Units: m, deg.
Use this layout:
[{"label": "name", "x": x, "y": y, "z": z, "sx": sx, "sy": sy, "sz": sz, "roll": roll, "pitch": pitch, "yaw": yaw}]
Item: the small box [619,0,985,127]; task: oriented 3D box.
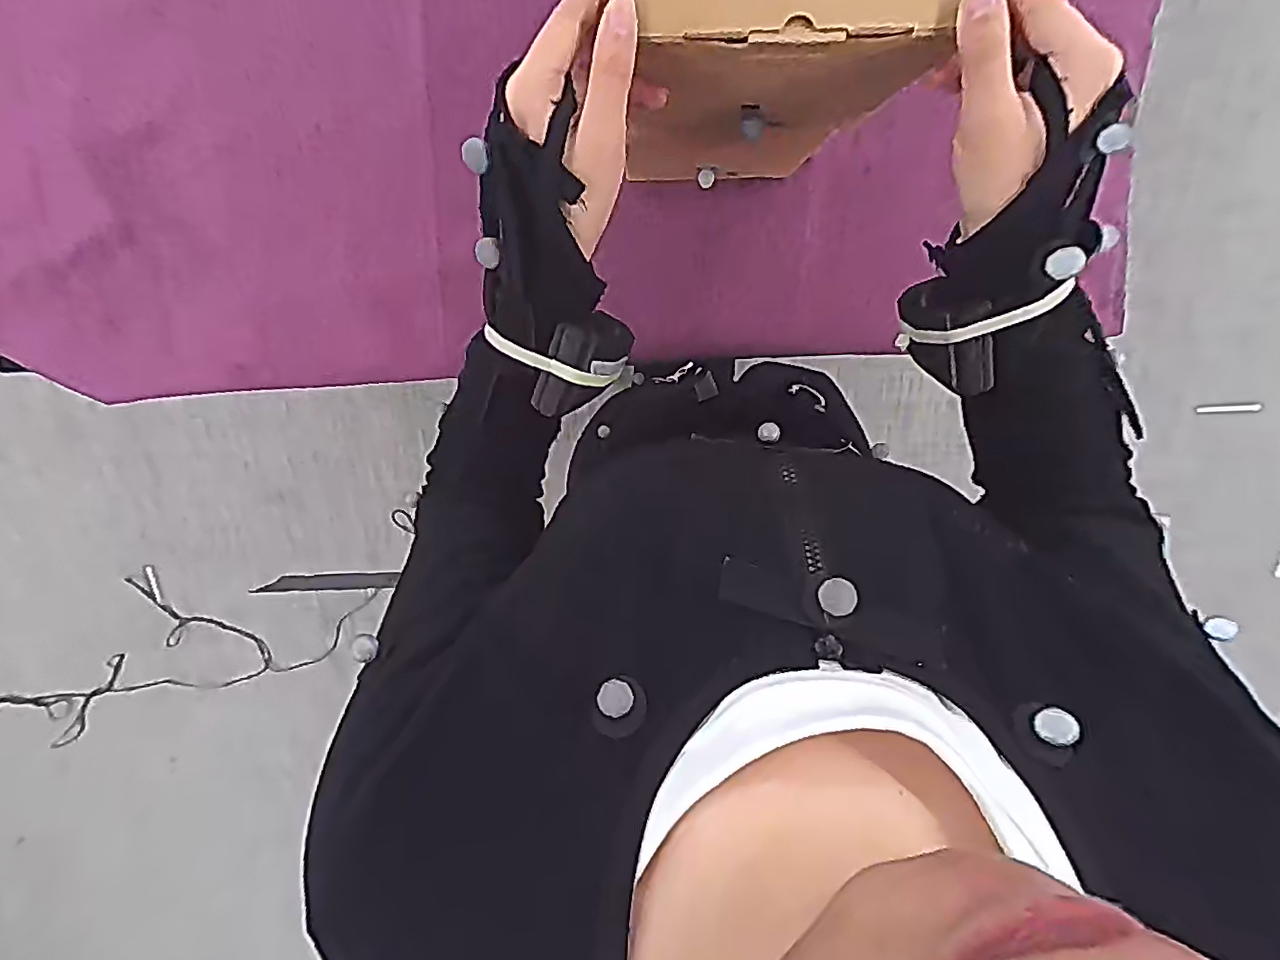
[{"label": "small box", "x": 0.071, "y": -0.313, "z": 0.287, "sx": 0.168, "sy": 0.176, "sz": 0.179, "roll": 0, "pitch": 109, "yaw": 1}]

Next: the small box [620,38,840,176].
[{"label": "small box", "x": 0.067, "y": -0.369, "z": 0.447, "sx": 0.168, "sy": 0.176, "sz": 0.179, "roll": -1, "pitch": 108, "yaw": 1}]
